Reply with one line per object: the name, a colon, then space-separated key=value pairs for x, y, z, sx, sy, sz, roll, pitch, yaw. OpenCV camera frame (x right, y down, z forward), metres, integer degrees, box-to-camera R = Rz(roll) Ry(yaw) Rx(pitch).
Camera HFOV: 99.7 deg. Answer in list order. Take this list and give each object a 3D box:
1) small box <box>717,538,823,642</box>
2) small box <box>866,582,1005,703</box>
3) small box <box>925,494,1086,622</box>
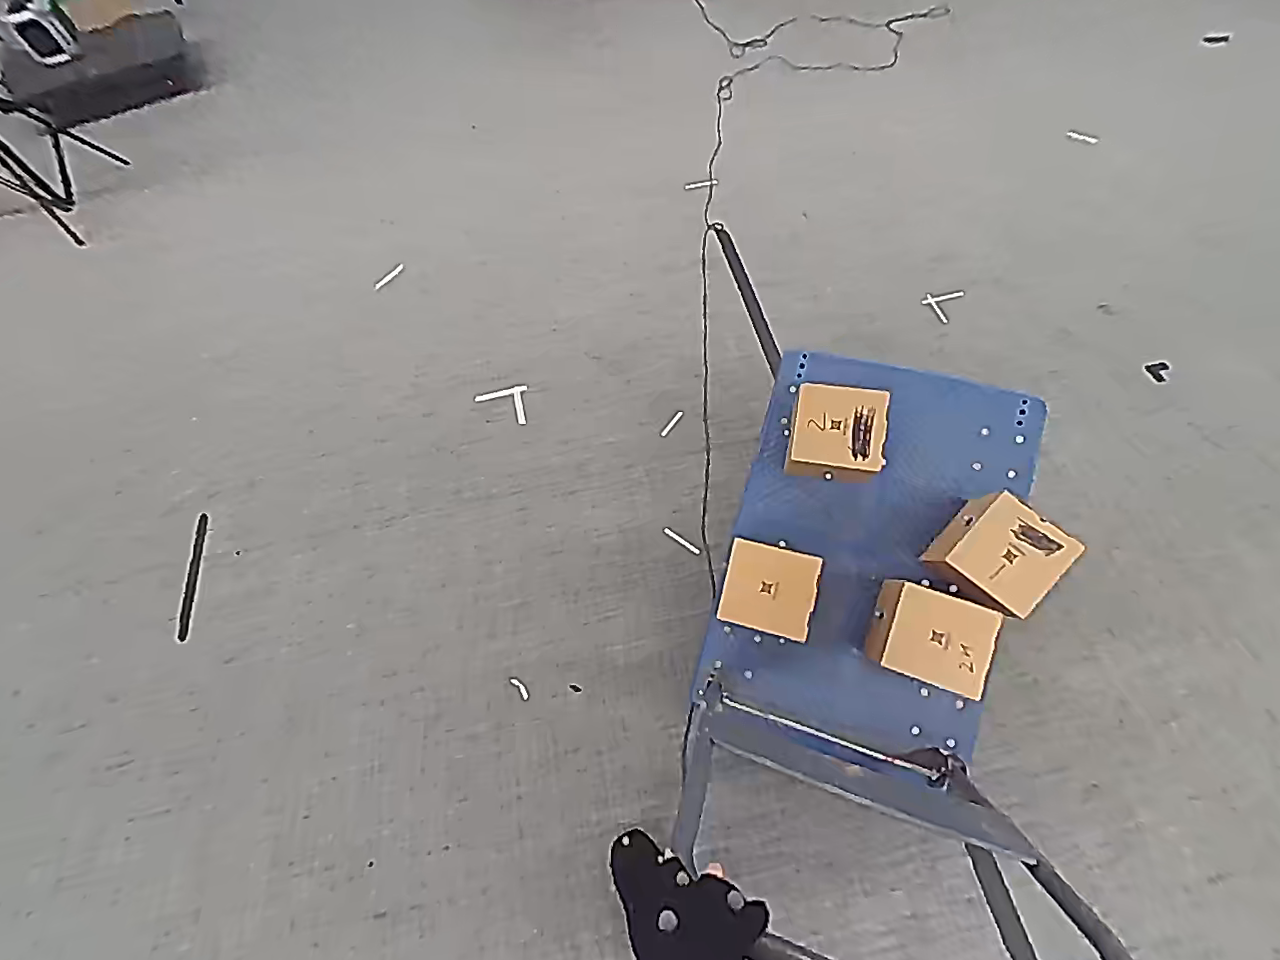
small box: x=0.267 y=0.227 z=1.133 sx=0.179 sy=0.176 sz=0.168 roll=13 pitch=83 yaw=11
small box: x=0.564 y=0.308 z=1.060 sx=0.179 sy=0.176 sz=0.168 roll=19 pitch=85 yaw=14
small box: x=0.698 y=0.151 z=1.060 sx=0.168 sy=0.176 sz=0.179 roll=42 pitch=91 yaw=15
